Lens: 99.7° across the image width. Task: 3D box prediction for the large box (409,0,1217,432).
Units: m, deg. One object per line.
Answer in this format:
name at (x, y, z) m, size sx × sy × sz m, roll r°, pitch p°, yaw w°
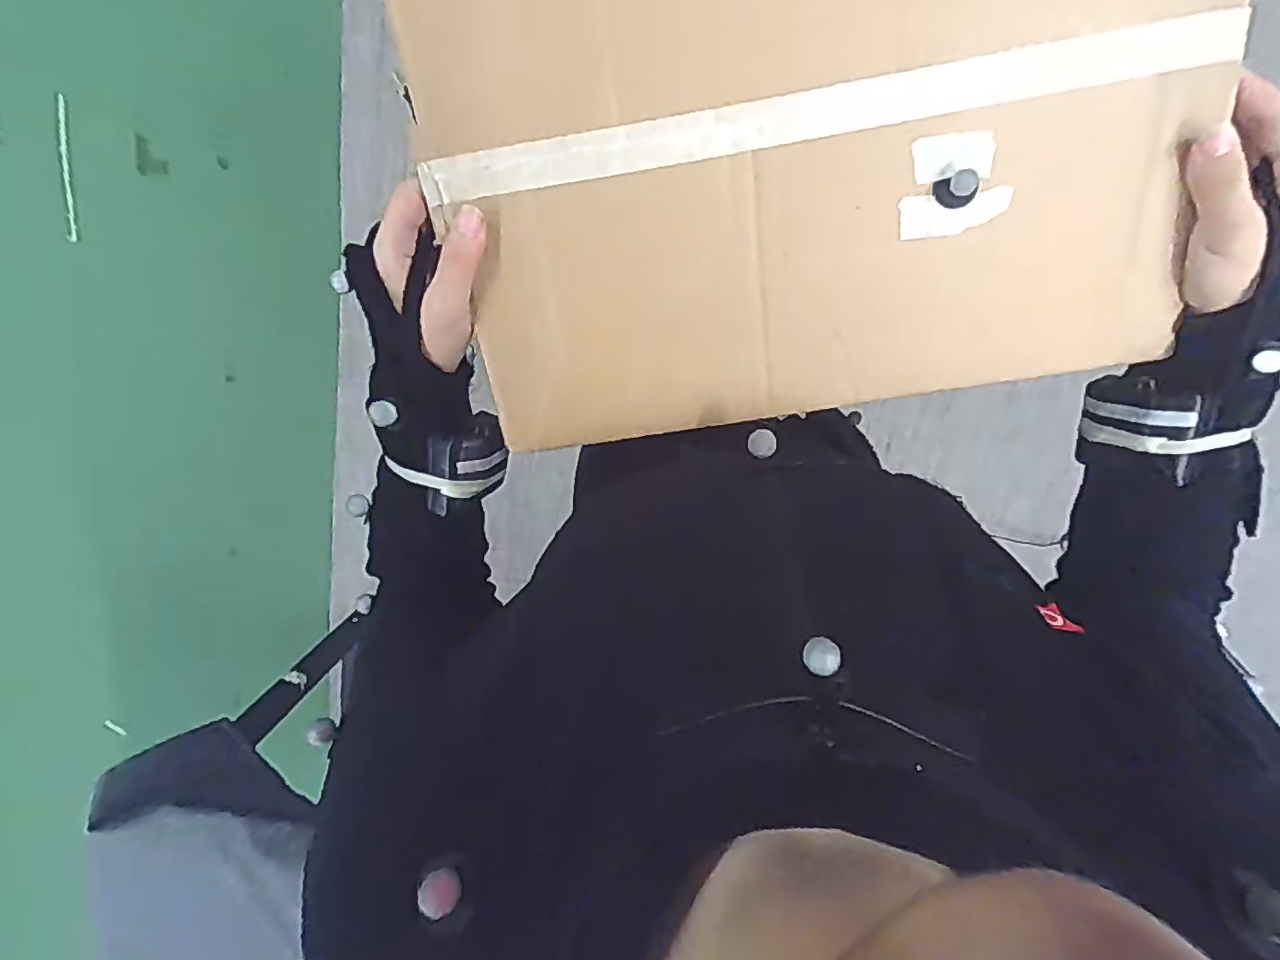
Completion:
large box at (0.090, -0.256, 0.421) m, size 0.408 × 0.320 × 0.320 m, roll -9°, pitch 113°, yaw 2°
